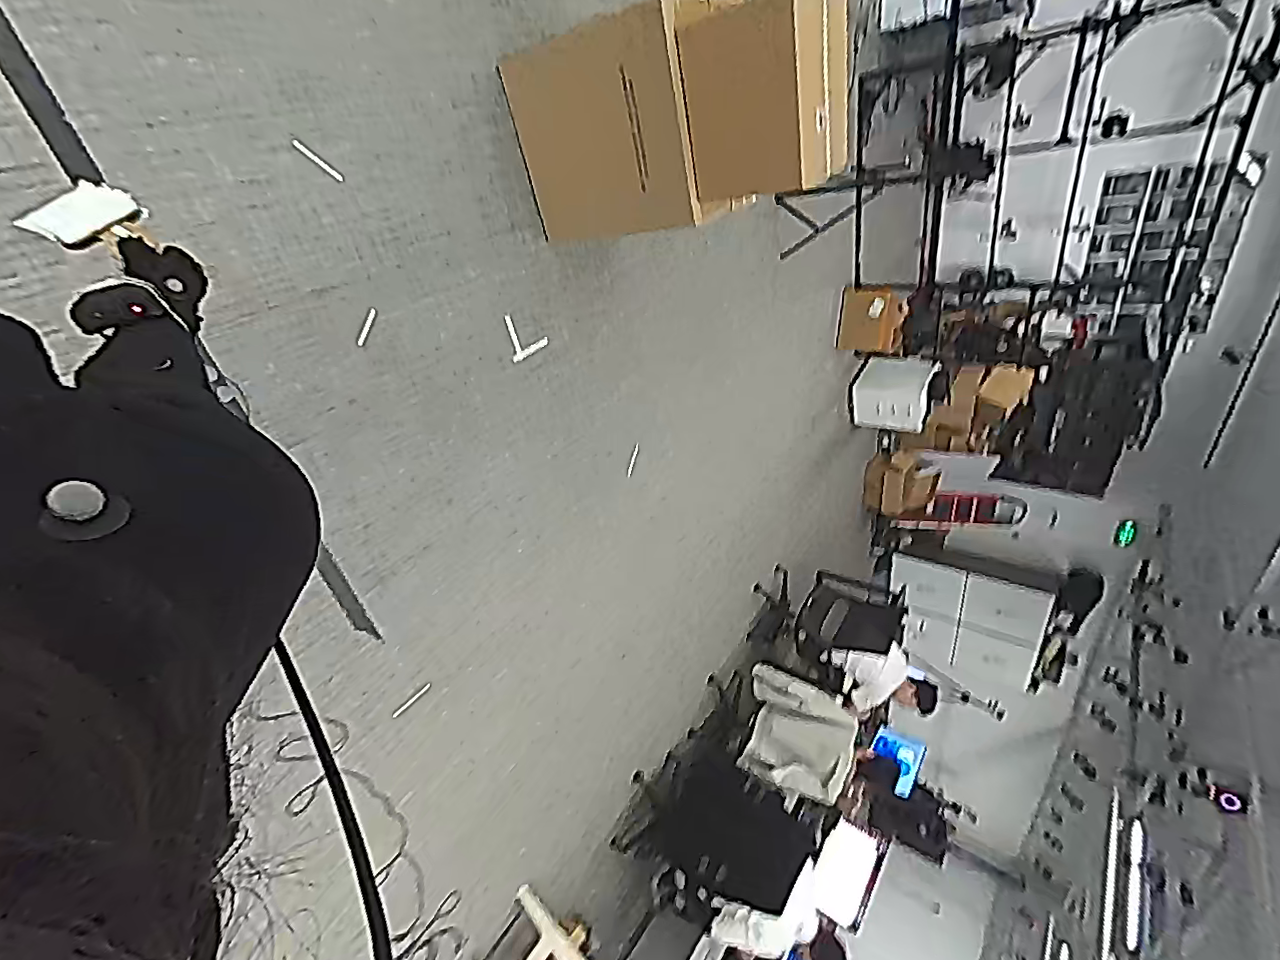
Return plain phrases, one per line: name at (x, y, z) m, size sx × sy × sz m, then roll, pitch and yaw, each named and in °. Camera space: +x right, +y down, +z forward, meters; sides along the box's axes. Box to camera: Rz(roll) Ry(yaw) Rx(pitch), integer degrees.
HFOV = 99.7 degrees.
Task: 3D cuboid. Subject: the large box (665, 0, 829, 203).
large box at (0.300, -1.001, 1.440) m, size 0.320 × 0.320 × 0.408 m, roll -43°, pitch 133°, yaw -37°
